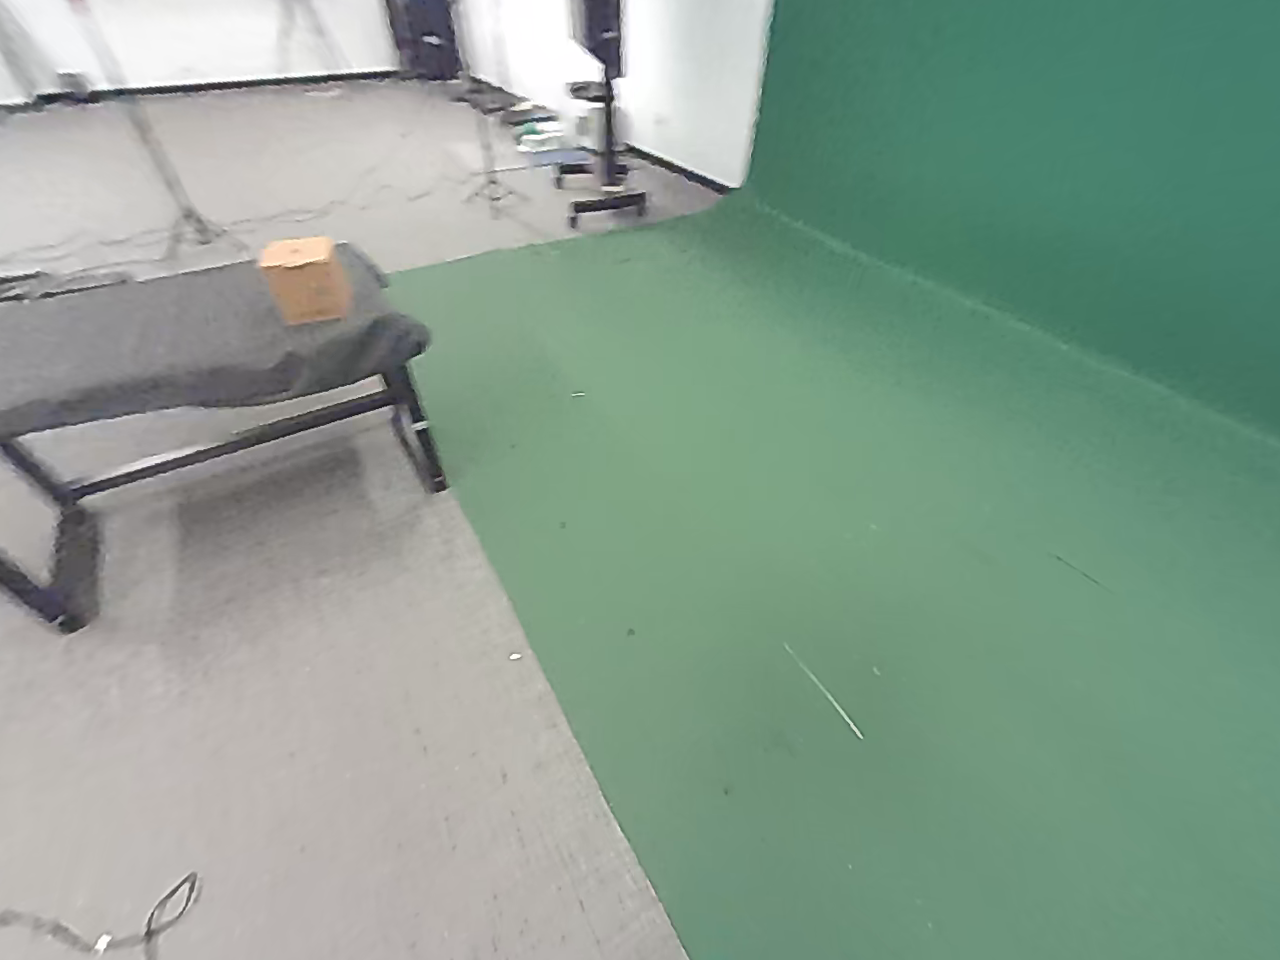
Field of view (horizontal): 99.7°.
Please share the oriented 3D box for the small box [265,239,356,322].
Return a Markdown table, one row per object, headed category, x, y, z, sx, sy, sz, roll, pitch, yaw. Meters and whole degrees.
| category | x | y | z | sx | sy | sz | roll | pitch | yaw |
| --- | --- | --- | --- | --- | --- | --- | --- | --- | --- |
| small box | -0.915 | -0.554 | 1.519 | 0.168 | 0.176 | 0.179 | -12 | 44 | -14 |
